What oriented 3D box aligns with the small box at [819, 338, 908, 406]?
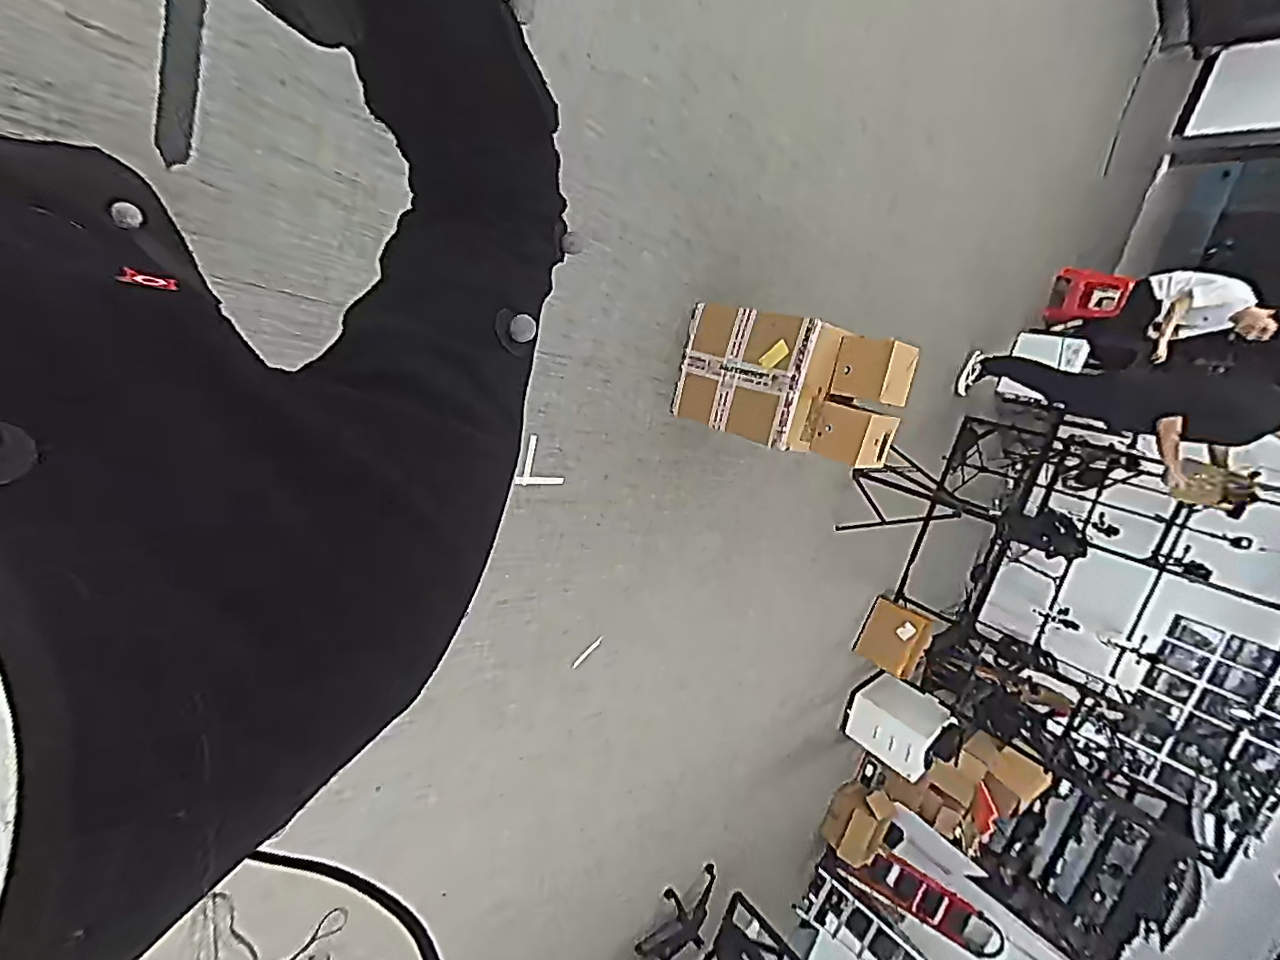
[{"bbox_3d":[0.683,-0.326,1.649,0.168,0.176,0.179,0,107,-42],"label":"small box"}]
